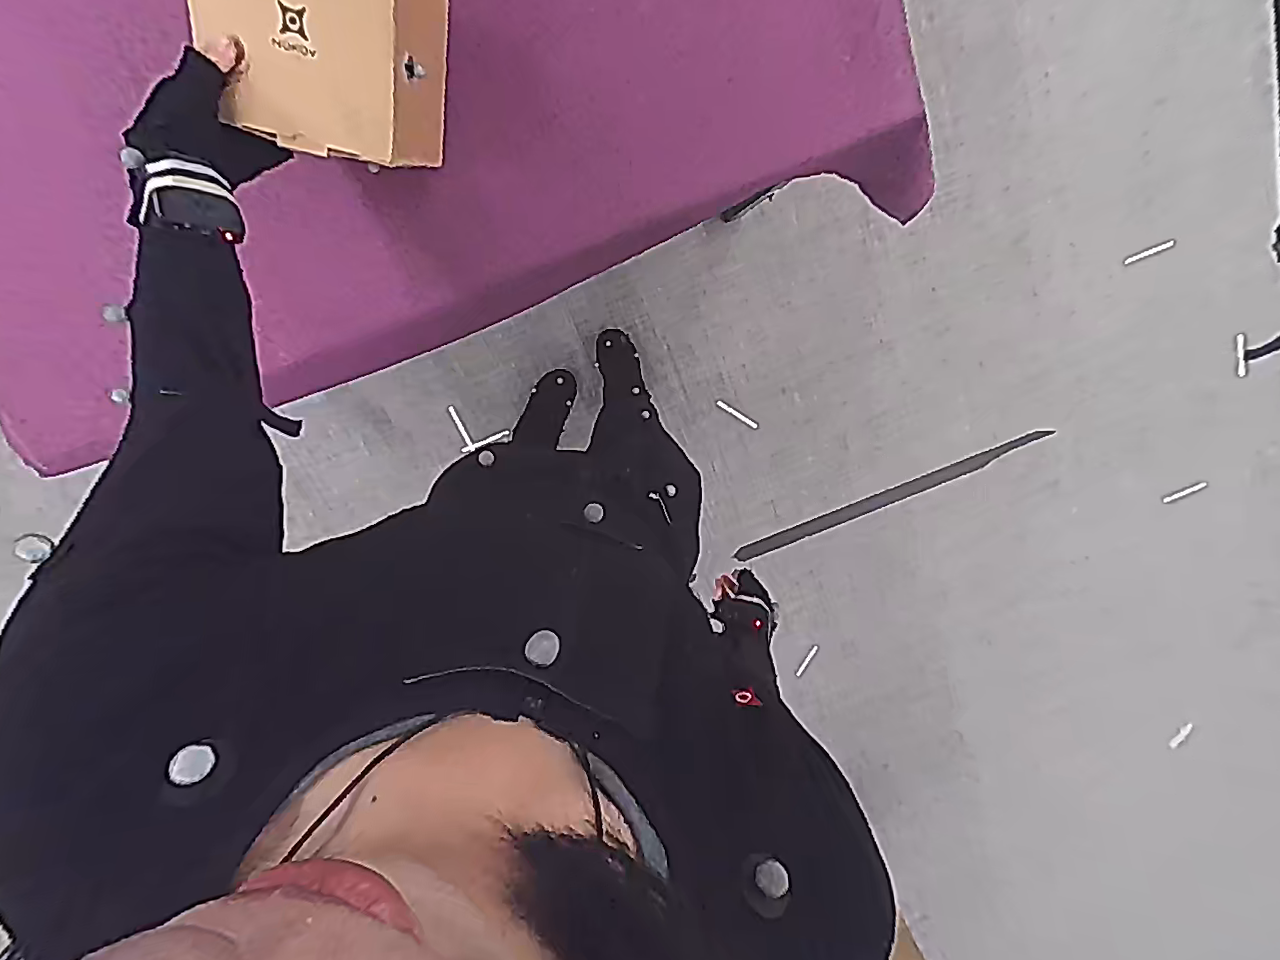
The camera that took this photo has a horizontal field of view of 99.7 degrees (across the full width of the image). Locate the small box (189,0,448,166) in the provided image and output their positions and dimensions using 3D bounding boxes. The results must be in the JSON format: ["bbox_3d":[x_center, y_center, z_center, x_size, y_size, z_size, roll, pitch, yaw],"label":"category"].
[{"bbox_3d":[-0.294,-0.424,0.526,0.168,0.176,0.179,10,120,-8],"label":"small box"}]
